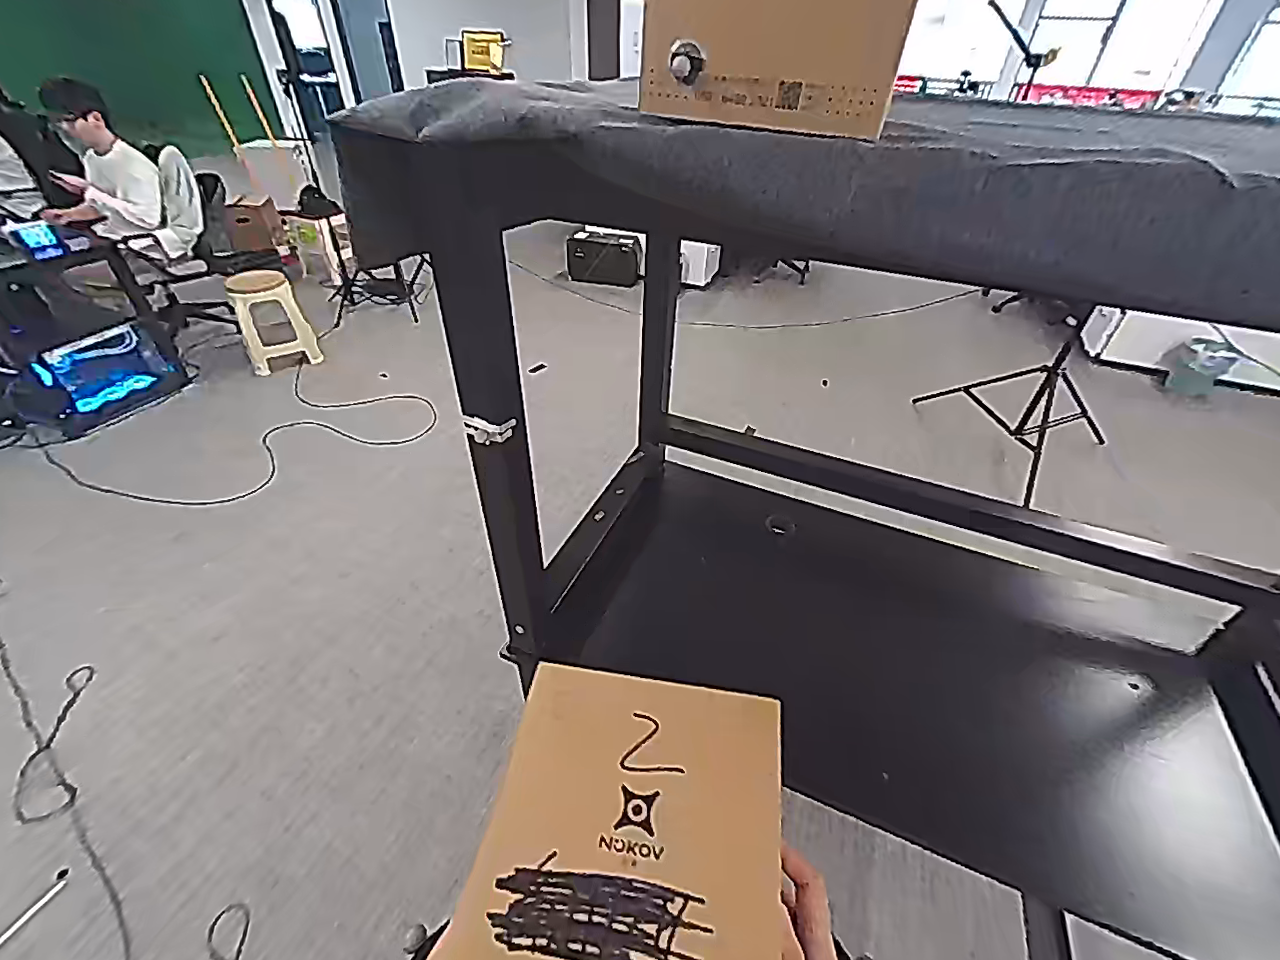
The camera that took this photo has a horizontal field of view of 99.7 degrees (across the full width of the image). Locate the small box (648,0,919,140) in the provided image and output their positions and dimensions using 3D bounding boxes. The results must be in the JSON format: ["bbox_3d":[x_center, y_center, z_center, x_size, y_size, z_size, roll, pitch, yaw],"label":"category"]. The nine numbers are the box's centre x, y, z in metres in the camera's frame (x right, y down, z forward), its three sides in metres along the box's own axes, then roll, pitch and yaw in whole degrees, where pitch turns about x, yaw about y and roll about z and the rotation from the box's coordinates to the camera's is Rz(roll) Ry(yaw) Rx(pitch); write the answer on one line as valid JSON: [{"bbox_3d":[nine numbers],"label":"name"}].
[{"bbox_3d":[0.109,-0.347,0.378,0.168,0.176,0.179,16,39,14],"label":"small box"}]
